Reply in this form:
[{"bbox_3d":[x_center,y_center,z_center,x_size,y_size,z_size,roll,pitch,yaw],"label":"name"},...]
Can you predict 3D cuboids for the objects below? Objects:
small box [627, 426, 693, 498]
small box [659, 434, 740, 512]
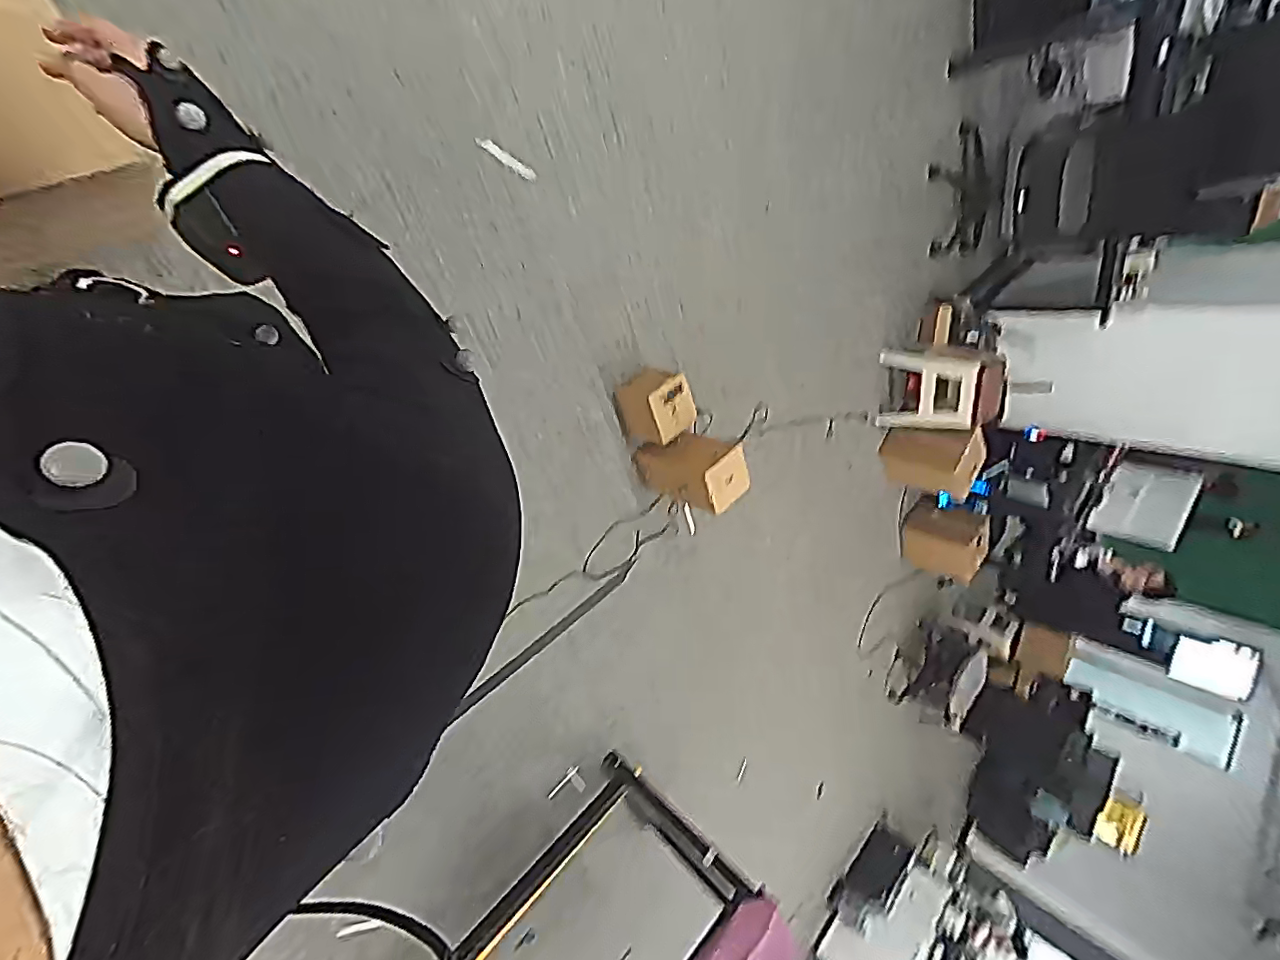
[{"bbox_3d":[0.086,-0.070,1.865,0.179,0.176,0.168,-37,125,-26],"label":"small box"},{"bbox_3d":[0.193,-0.030,1.746,0.179,0.176,0.168,-39,126,-26],"label":"small box"}]
